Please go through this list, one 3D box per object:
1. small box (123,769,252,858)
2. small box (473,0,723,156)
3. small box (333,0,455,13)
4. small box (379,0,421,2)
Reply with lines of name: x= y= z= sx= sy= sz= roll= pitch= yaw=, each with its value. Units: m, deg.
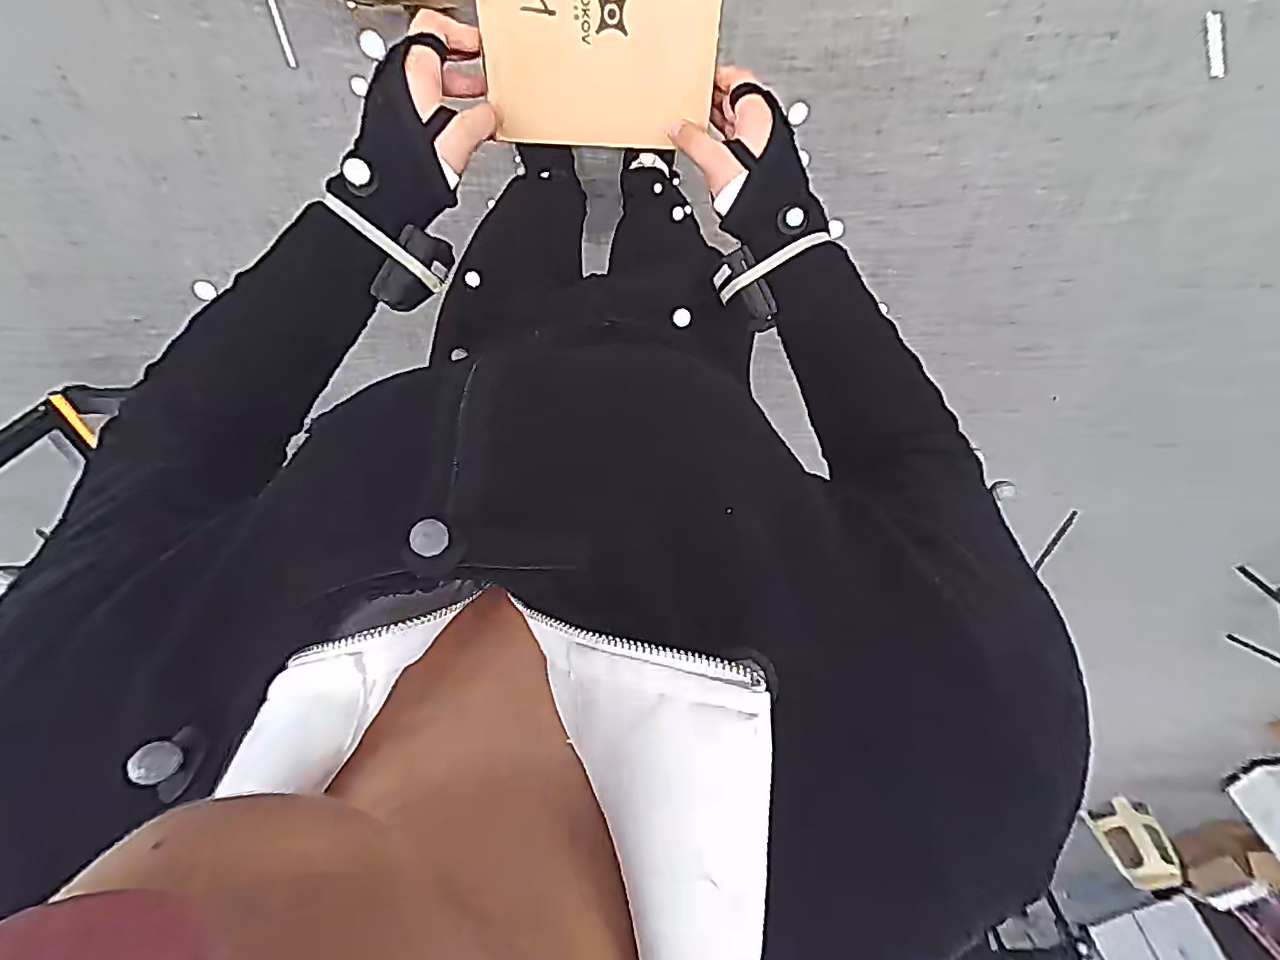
small box: x=-1.212 y=0.902 z=1.465 sx=0.179 sy=0.176 sz=0.168 roll=-1 pitch=132 yaw=-1
small box: x=-0.034 y=-0.377 z=0.442 sx=0.179 sy=0.176 sz=0.168 roll=1 pitch=127 yaw=-5
small box: x=-0.413 y=-0.884 z=0.880 sx=0.168 sy=0.176 sz=0.179 roll=1 pitch=132 yaw=-2
small box: x=-0.408 y=-0.780 z=0.751 sx=0.179 sy=0.176 sz=0.168 roll=1 pitch=131 yaw=-3
